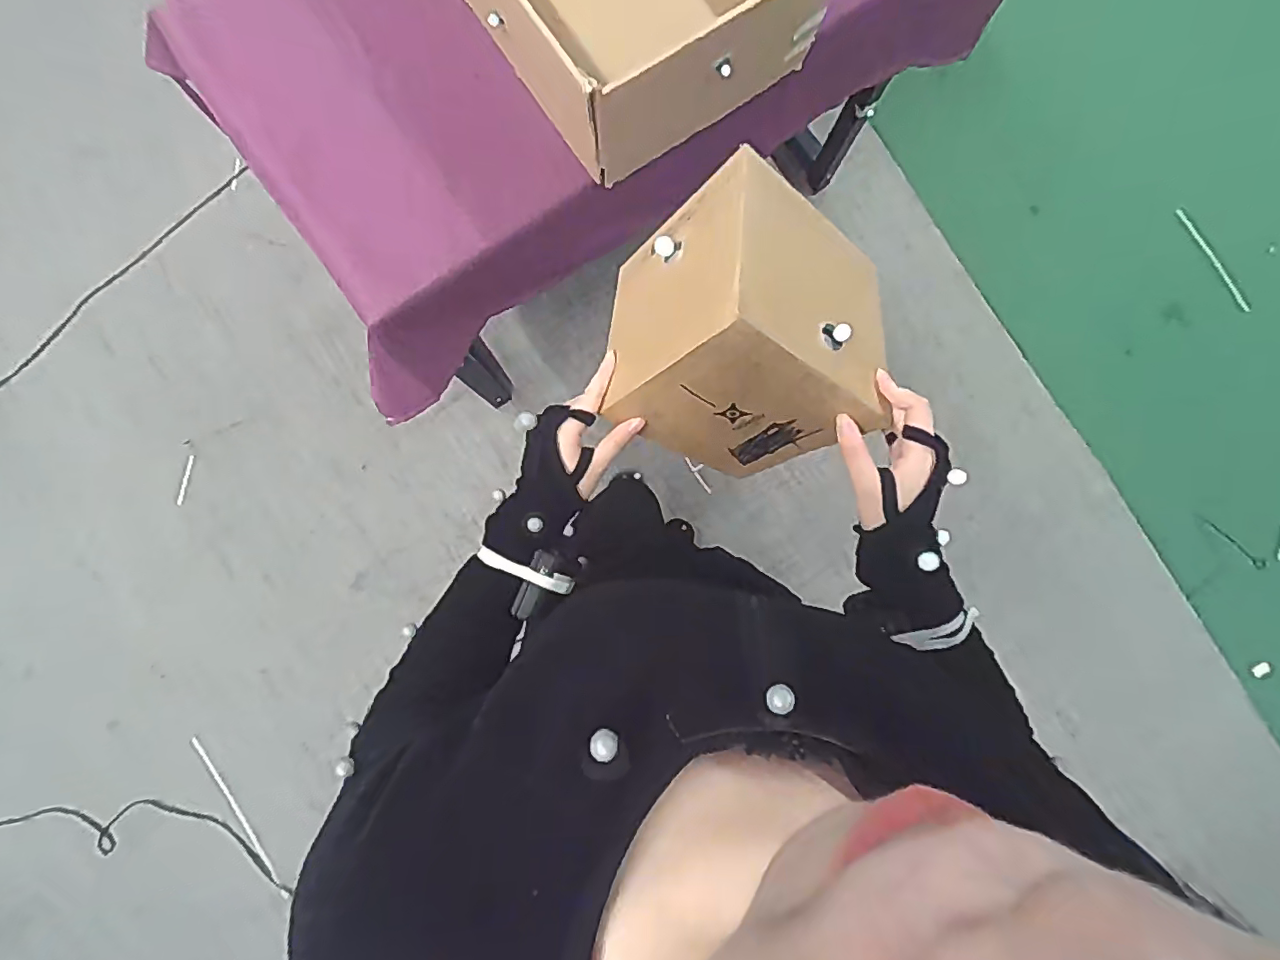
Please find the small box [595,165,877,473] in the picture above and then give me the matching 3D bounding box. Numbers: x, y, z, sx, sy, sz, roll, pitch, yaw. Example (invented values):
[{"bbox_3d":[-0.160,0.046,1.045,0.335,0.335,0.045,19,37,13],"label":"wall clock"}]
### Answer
[{"bbox_3d":[0.086,-0.129,0.481,0.179,0.168,0.176,23,61,-29],"label":"small box"}]
